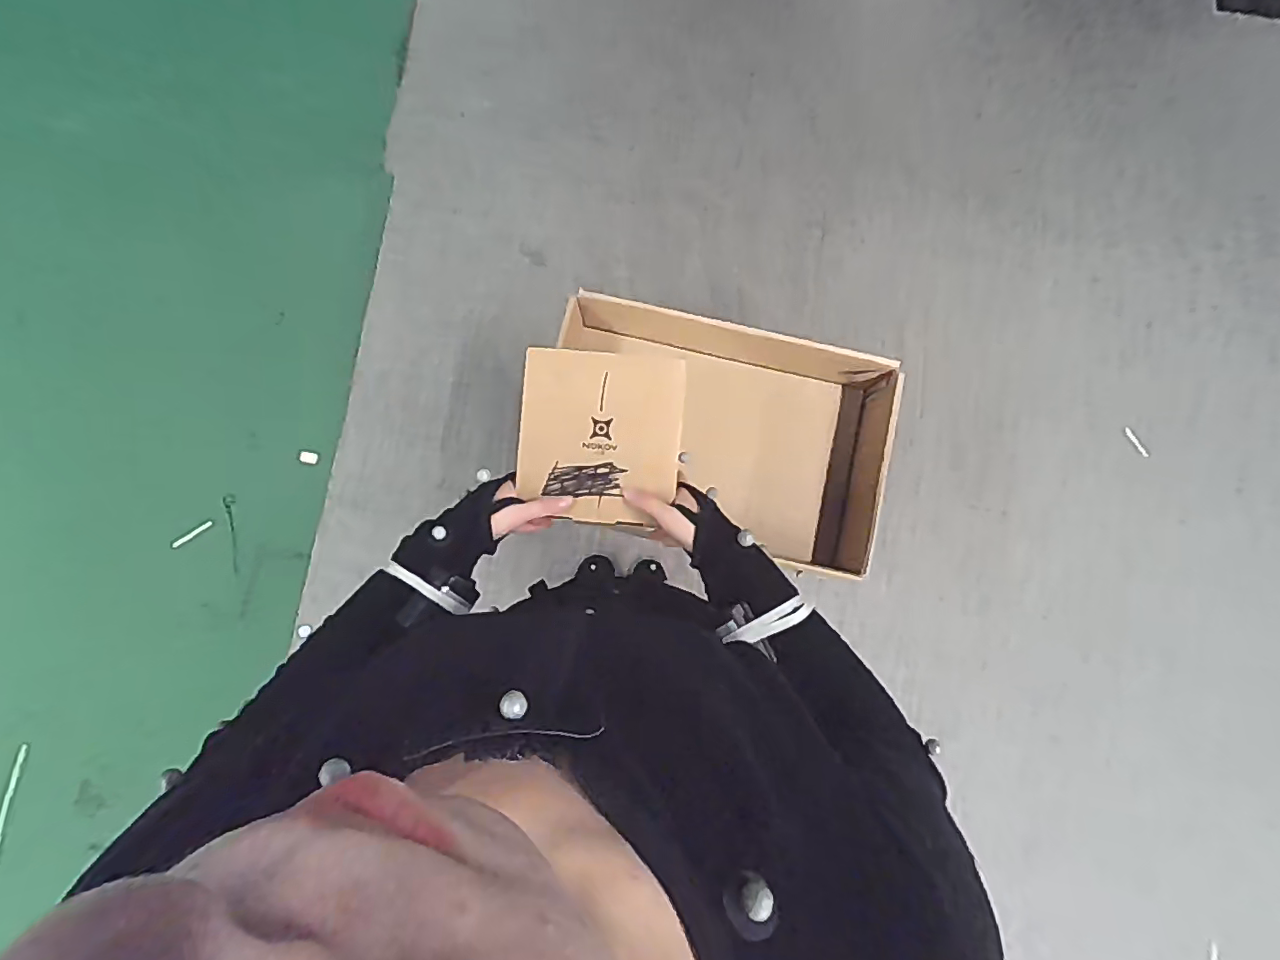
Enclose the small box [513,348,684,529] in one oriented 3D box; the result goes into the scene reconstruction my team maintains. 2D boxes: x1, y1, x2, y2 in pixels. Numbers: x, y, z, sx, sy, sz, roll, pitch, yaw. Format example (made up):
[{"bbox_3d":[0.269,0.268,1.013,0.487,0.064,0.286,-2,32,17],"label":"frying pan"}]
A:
[{"bbox_3d":[-0.040,-0.043,0.633,0.168,0.176,0.179,5,89,1],"label":"small box"}]
